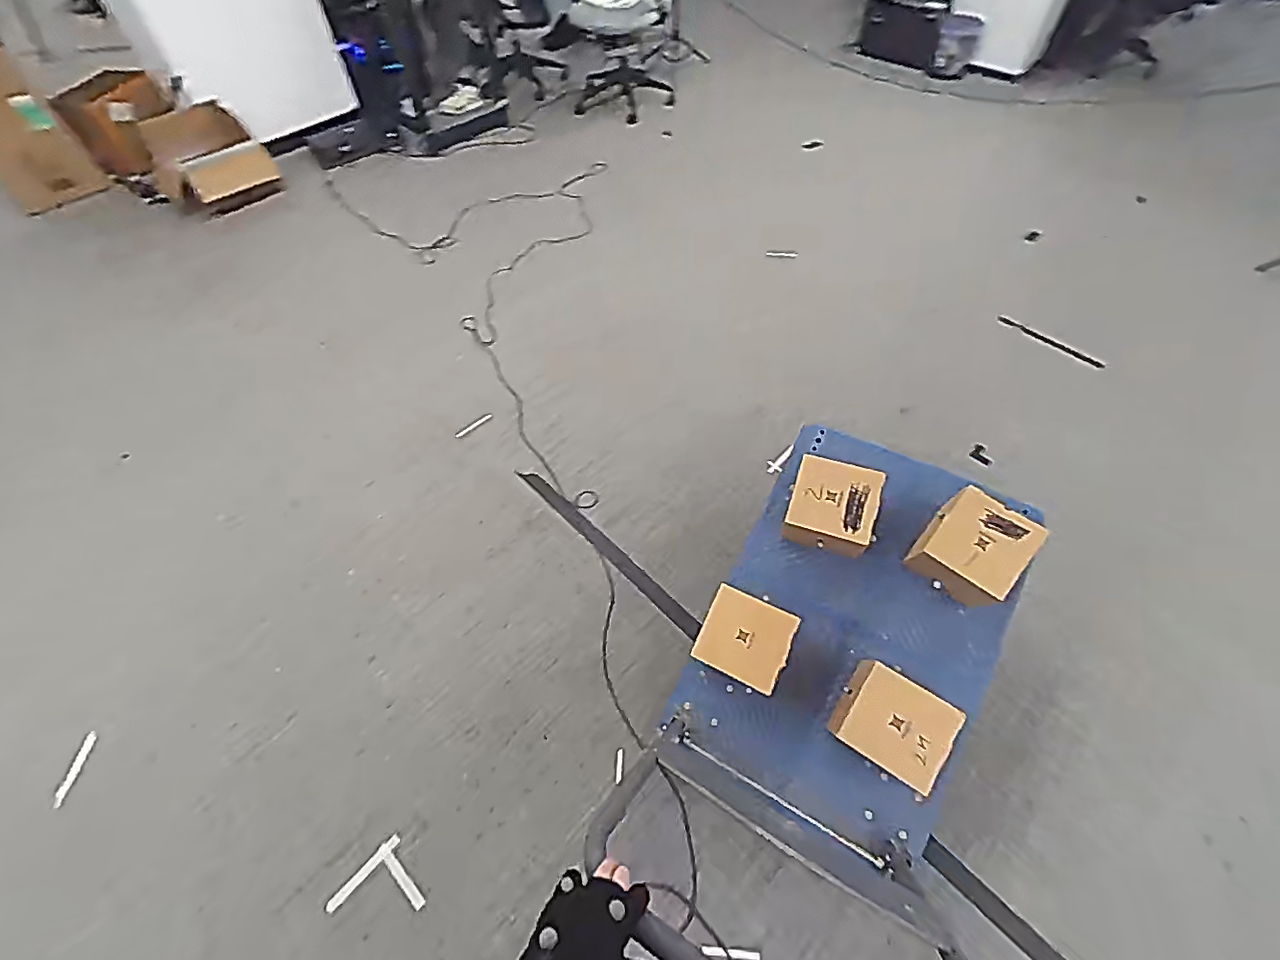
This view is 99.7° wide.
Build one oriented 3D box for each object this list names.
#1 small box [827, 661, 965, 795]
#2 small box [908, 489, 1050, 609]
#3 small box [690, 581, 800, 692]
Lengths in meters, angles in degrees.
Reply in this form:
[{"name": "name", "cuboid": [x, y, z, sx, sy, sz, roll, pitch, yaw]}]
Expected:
[{"name": "small box", "cuboid": [0.494, 0.482, 1.073, 0.179, 0.176, 0.168, 31, 81, 19]}, {"name": "small box", "cuboid": [0.700, 0.151, 1.143, 0.168, 0.176, 0.179, 38, 83, 20]}, {"name": "small box", "cuboid": [0.227, 0.342, 1.175, 0.179, 0.176, 0.168, 24, 78, 16]}]
